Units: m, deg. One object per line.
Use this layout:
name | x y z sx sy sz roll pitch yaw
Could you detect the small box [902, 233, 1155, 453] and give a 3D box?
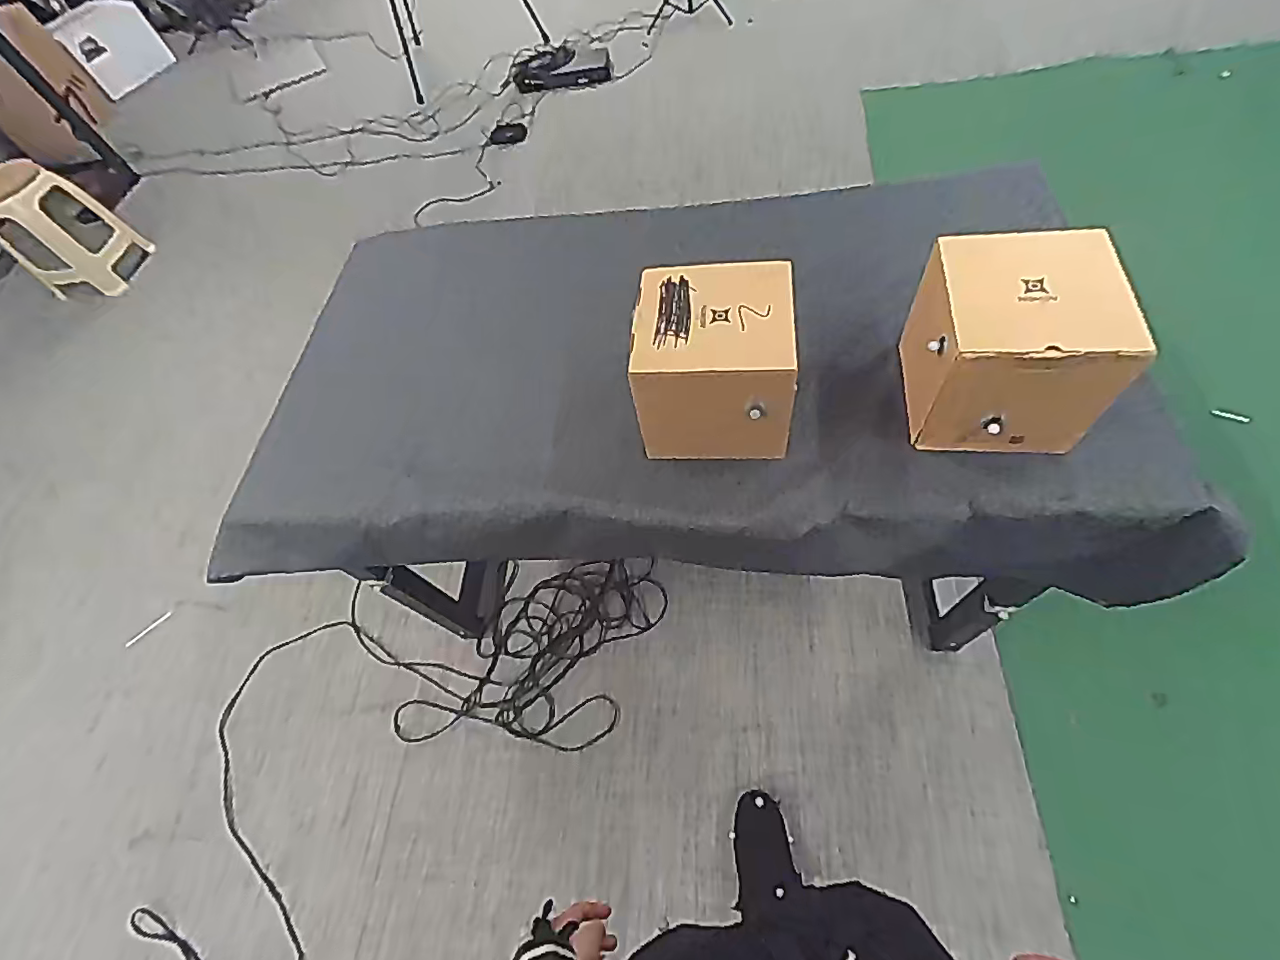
small box | 0.410 -0.151 0.613 0.168 0.176 0.179 2 61 12
